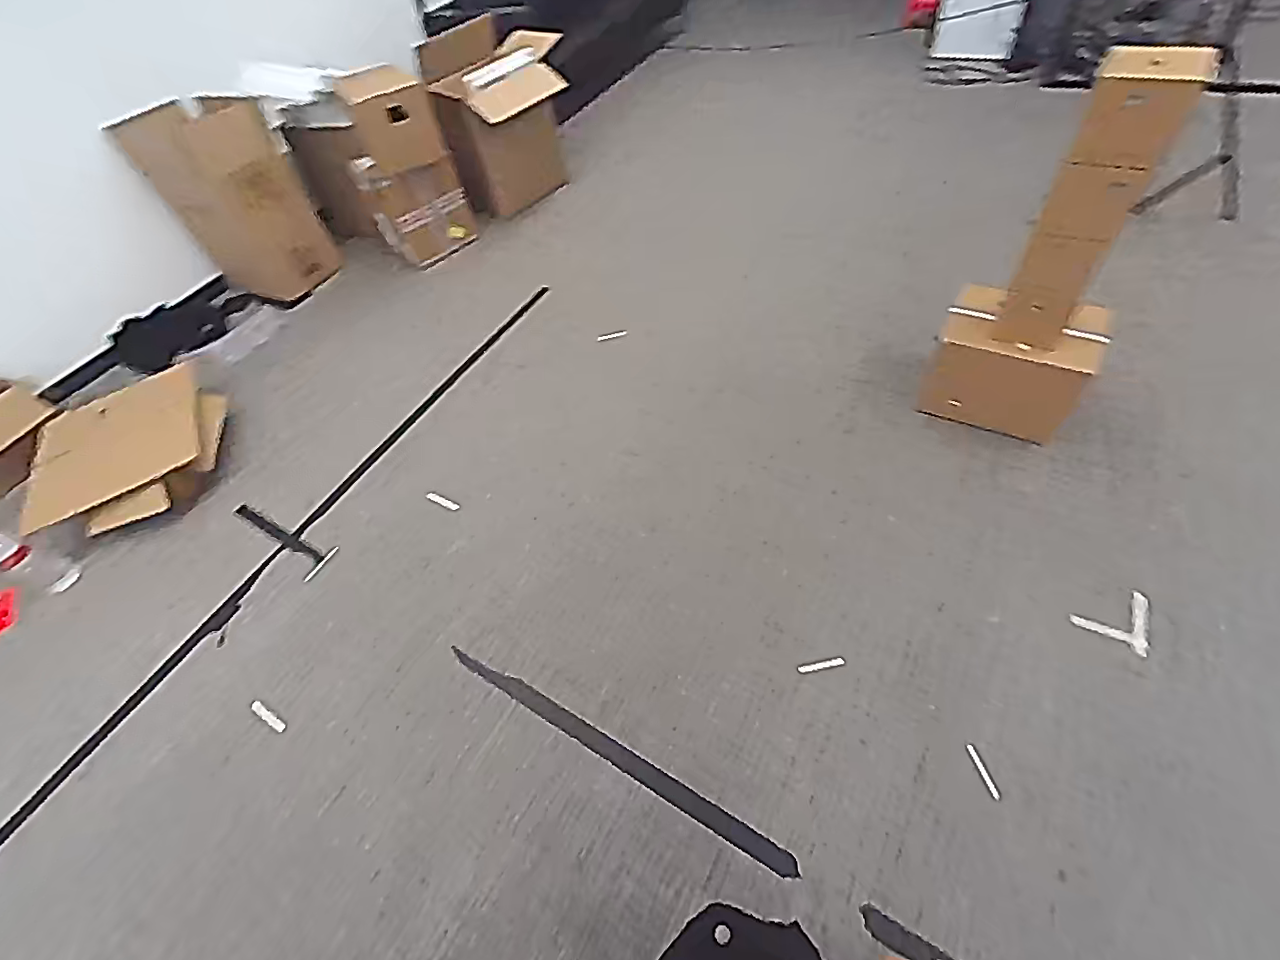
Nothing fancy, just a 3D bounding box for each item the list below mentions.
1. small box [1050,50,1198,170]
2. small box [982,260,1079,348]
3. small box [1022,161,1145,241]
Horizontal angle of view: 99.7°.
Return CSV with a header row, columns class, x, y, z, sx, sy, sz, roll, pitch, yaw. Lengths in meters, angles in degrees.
class,x,y,z,sx,sy,sz,roll,pitch,yaw
small box,1.045,-0.801,1.178,0.179,0.176,0.168,23,62,26
small box,1.120,-0.505,1.562,0.179,0.176,0.168,20,60,23
small box,1.070,-0.704,1.305,0.179,0.176,0.168,23,61,26
